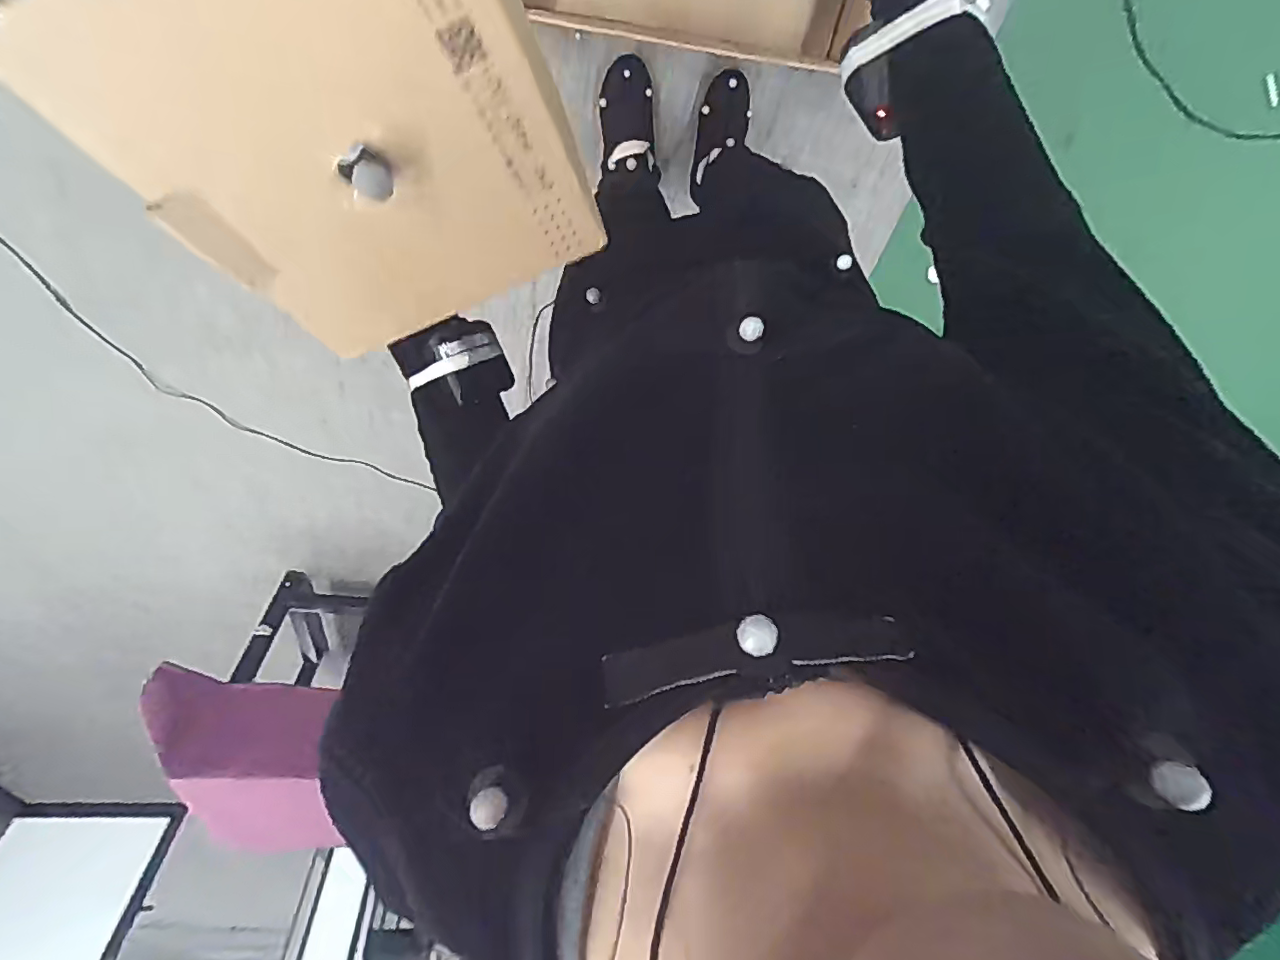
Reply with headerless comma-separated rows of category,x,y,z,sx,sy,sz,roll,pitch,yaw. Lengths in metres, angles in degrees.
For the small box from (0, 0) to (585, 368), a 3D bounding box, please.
small box,-0.142,-0.197,0.278,0.176,0.179,0.168,-20,151,10
